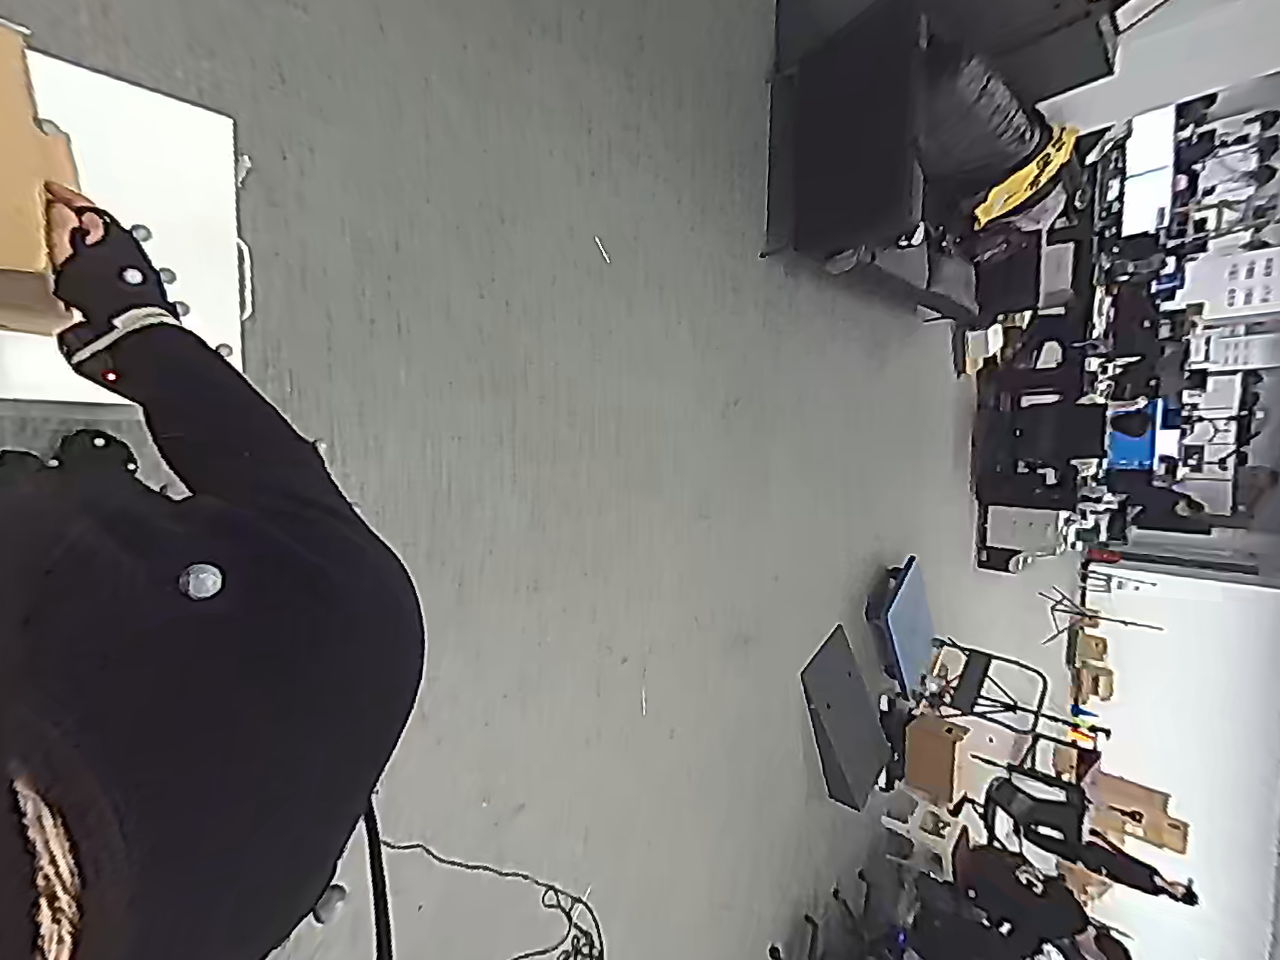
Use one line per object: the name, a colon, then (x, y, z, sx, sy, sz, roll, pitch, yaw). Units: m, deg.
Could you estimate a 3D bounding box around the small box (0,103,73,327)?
small box: (-0.671, -0.260, 0.520, 0.168, 0.176, 0.179, 0, 93, -44)
